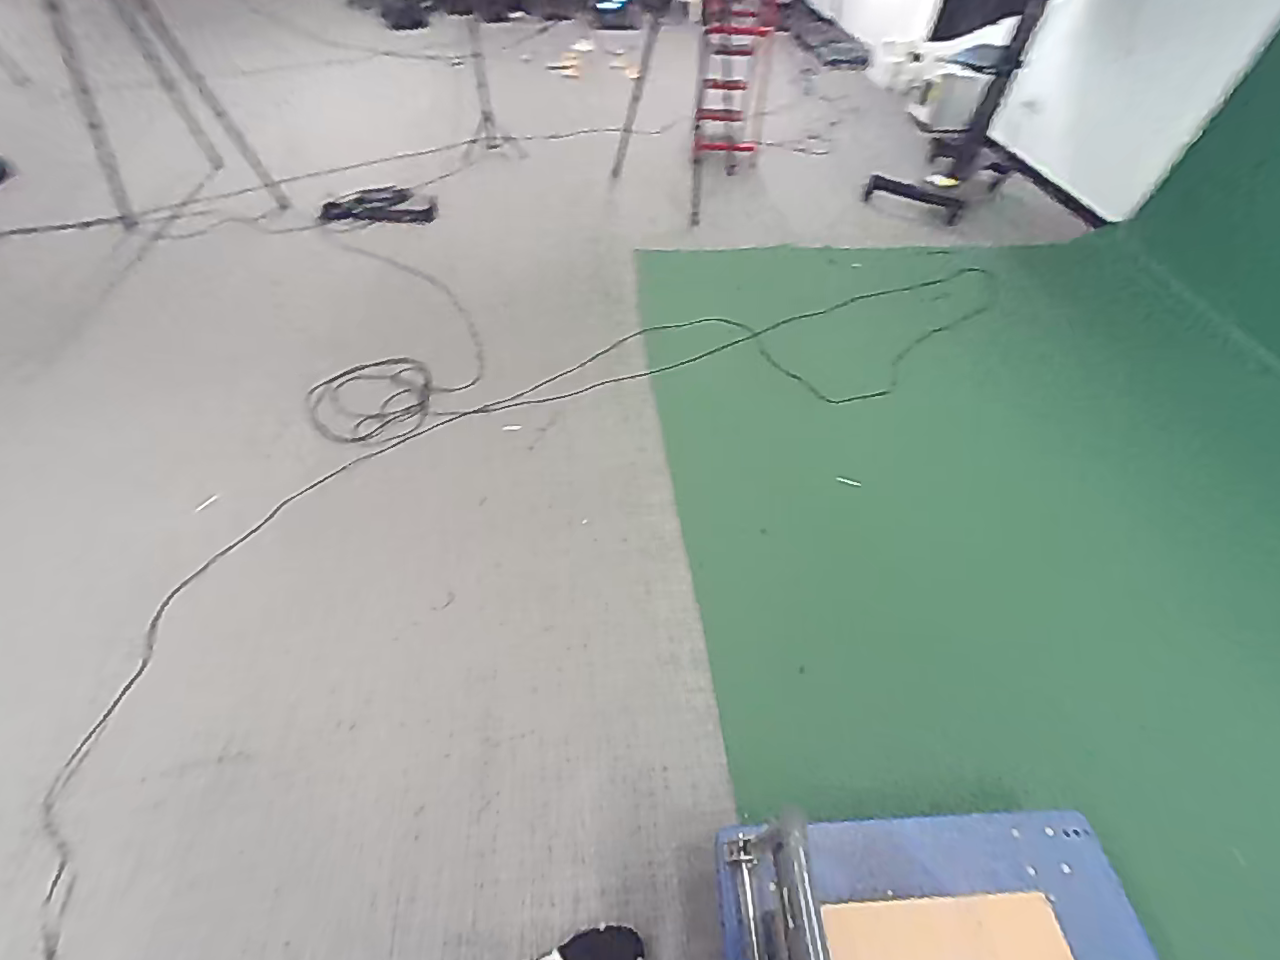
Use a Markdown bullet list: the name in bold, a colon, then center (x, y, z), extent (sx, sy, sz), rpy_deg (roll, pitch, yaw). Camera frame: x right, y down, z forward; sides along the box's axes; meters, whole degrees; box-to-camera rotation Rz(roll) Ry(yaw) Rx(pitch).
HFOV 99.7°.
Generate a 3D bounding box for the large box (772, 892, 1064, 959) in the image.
- **large box**: center (0.485, 0.928, 0.933), extent (0.408, 0.320, 0.320), rpy_deg (0, 51, -4)
